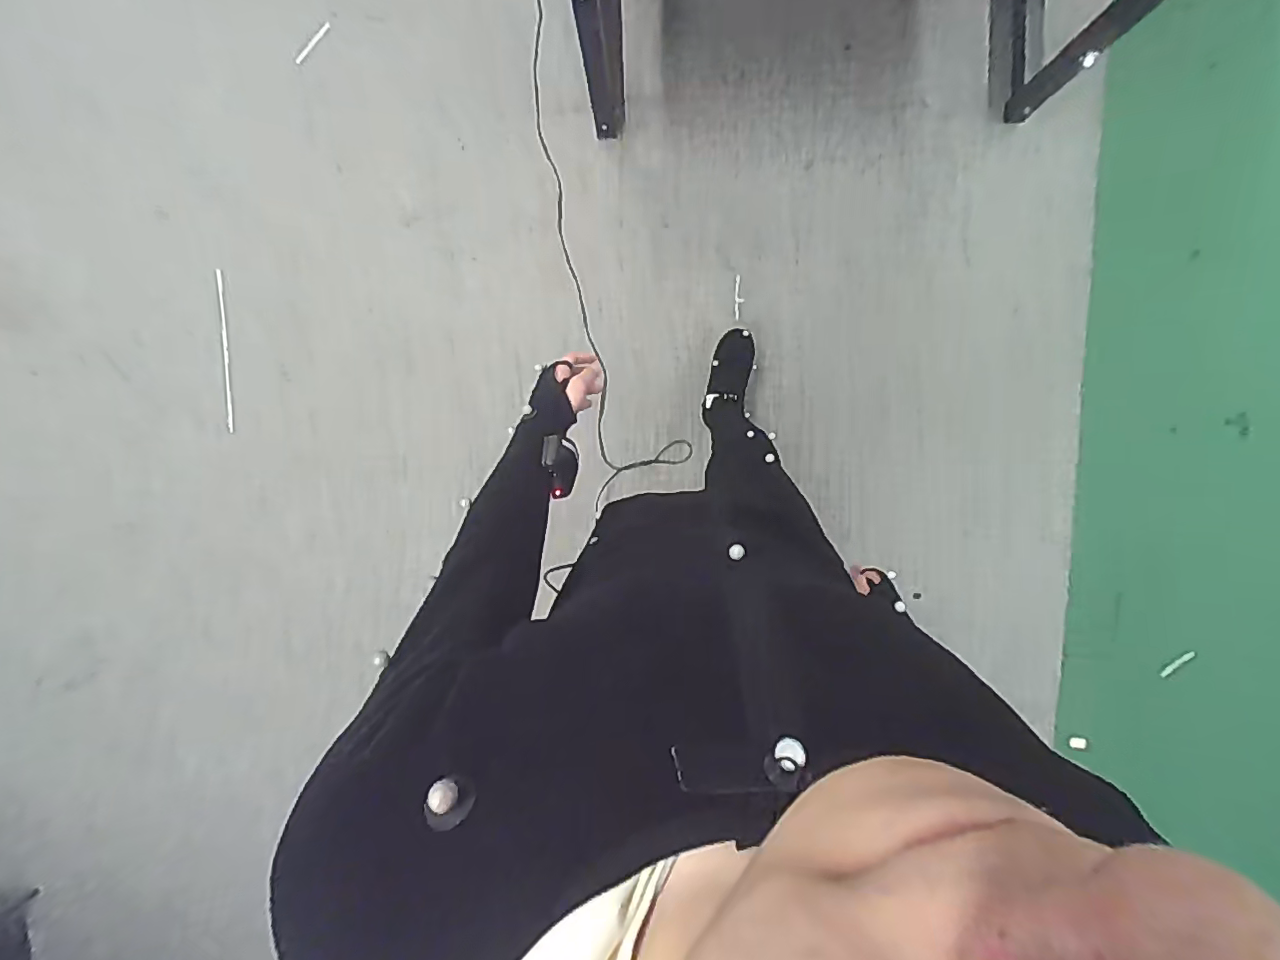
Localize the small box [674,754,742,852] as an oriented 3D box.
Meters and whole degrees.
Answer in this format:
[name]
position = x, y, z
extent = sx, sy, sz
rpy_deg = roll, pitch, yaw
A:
[small box]
position = 0.185, 0.902, 1.525
extent = 0.168, 0.176, 0.179
rpy_deg = 4, 96, 1
